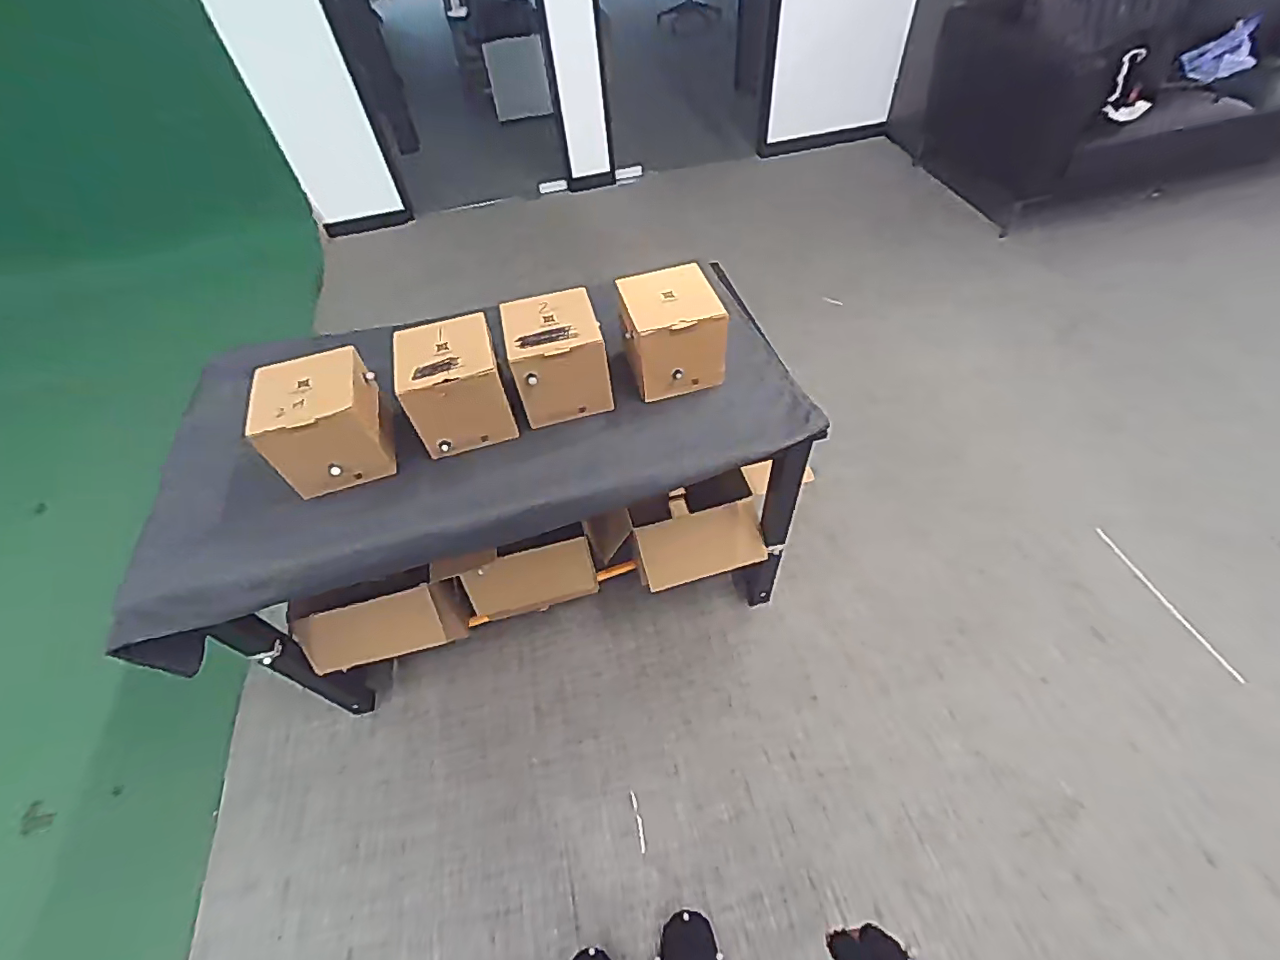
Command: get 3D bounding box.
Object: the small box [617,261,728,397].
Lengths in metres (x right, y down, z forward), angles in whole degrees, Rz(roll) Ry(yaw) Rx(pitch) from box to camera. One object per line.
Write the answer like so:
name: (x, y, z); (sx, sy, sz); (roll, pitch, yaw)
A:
small box: (0.059, -0.291, 1.051); (0.168, 0.176, 0.179); (-15, 53, -6)

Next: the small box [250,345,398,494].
small box: (-0.549, -0.106, 0.962); (0.168, 0.176, 0.179); (-18, 53, -8)
